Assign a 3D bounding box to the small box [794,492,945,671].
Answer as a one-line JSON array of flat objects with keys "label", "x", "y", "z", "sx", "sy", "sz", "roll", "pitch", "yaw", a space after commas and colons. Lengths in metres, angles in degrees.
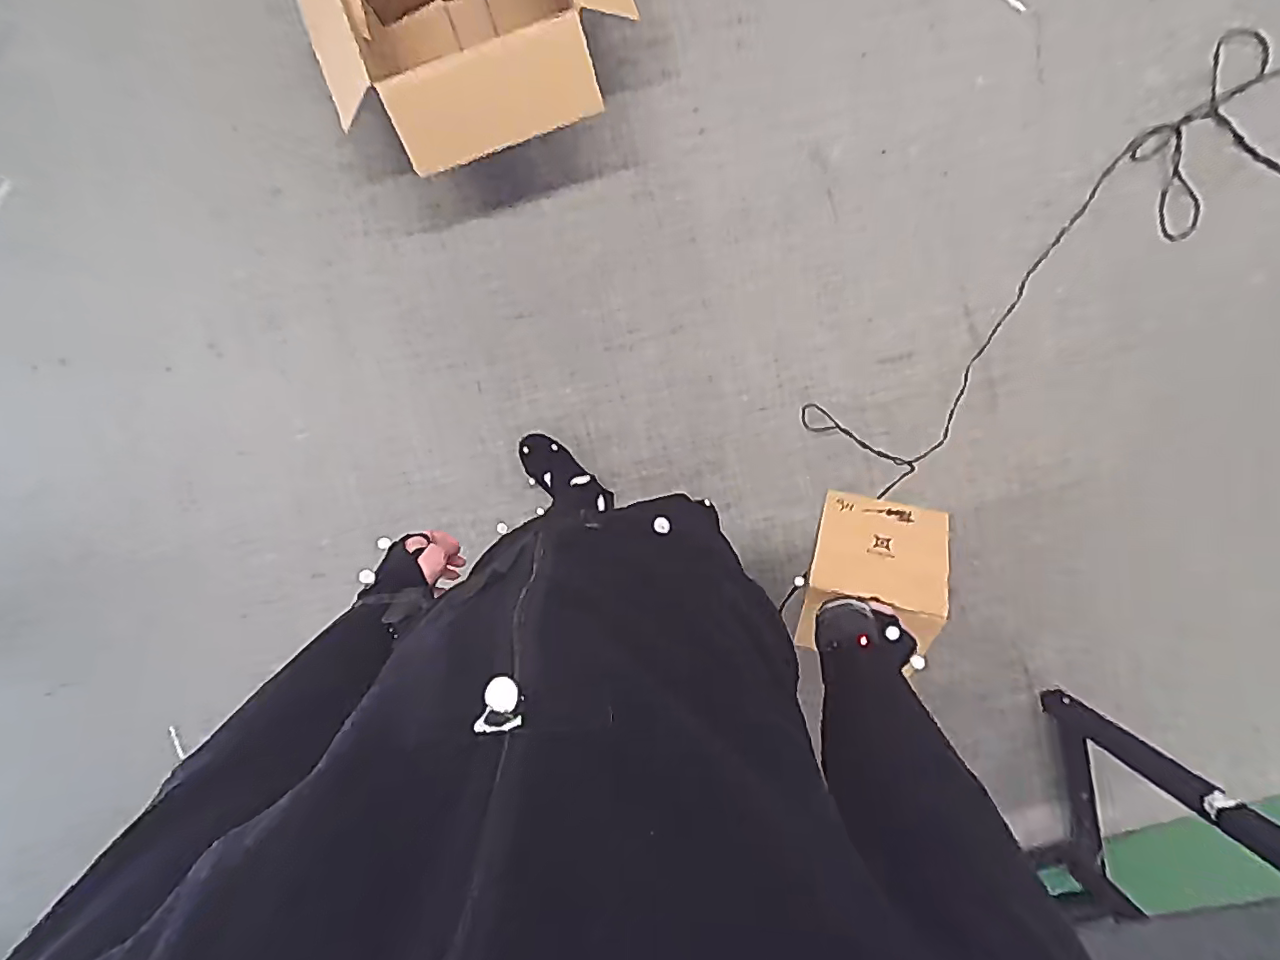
[{"label": "small box", "x": 0.326, "y": 0.148, "z": 0.785, "sx": 0.168, "sy": 0.179, "sz": 0.176, "roll": 13, "pitch": 140, "yaw": 19}]
